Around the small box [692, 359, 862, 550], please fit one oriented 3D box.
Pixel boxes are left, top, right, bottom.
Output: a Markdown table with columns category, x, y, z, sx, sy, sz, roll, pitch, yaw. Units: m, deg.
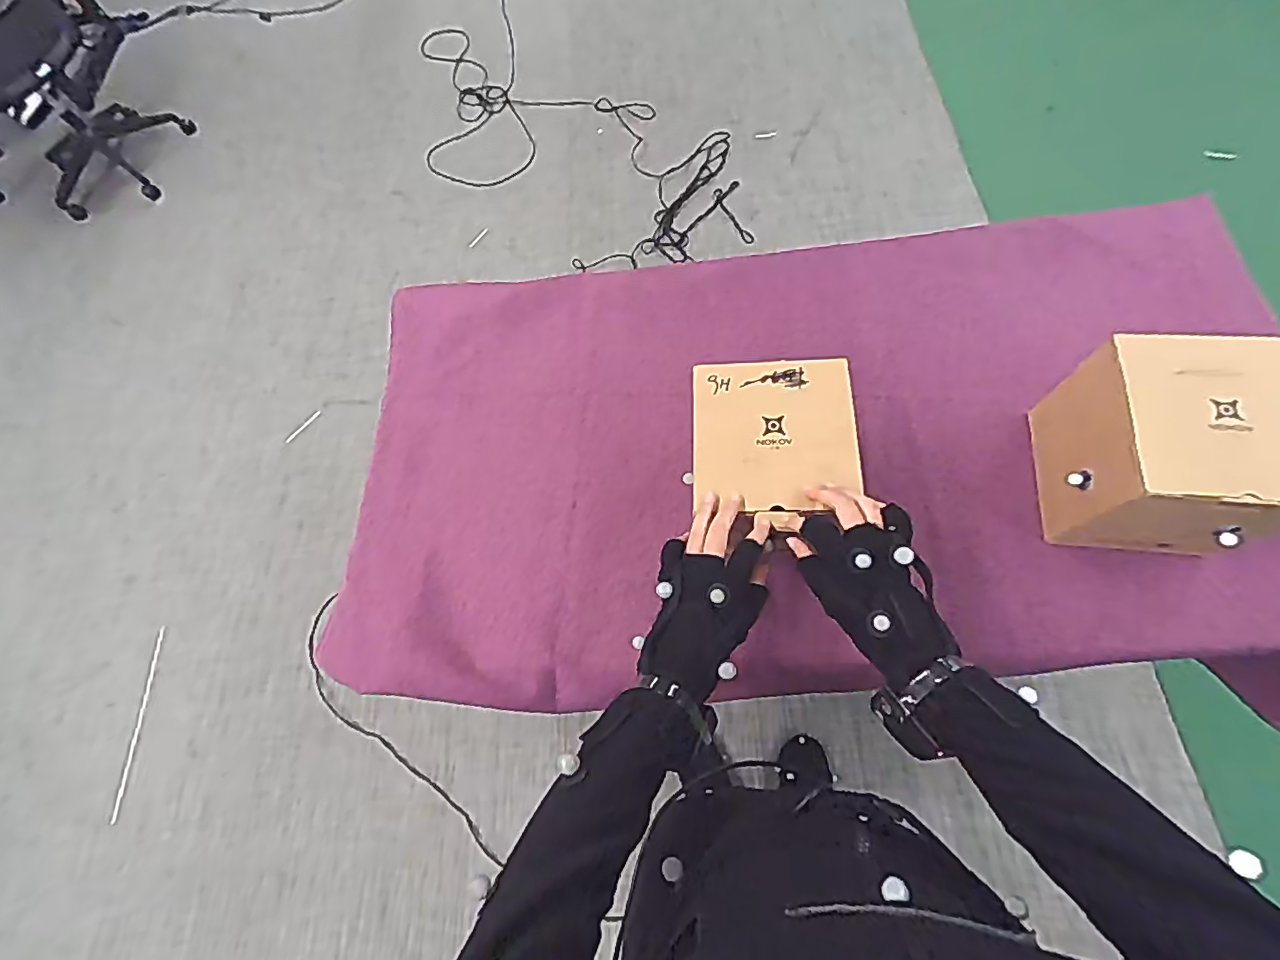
| category | x | y | z | sx | sy | sz | roll | pitch | yaw |
| --- | --- | --- | --- | --- | --- | --- | --- | --- | --- |
| small box | 0.149 | -0.019 | 0.631 | 0.168 | 0.176 | 0.179 | -1 | 69 | 8 |

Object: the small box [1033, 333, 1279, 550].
| category | x | y | z | sx | sy | sz | roll | pitch | yaw |
| --- | --- | --- | --- | --- | --- | --- | --- | --- | --- |
| small box | 0.553 | -0.032 | 0.572 | 0.168 | 0.176 | 0.179 | 5 | 69 | 10 |
